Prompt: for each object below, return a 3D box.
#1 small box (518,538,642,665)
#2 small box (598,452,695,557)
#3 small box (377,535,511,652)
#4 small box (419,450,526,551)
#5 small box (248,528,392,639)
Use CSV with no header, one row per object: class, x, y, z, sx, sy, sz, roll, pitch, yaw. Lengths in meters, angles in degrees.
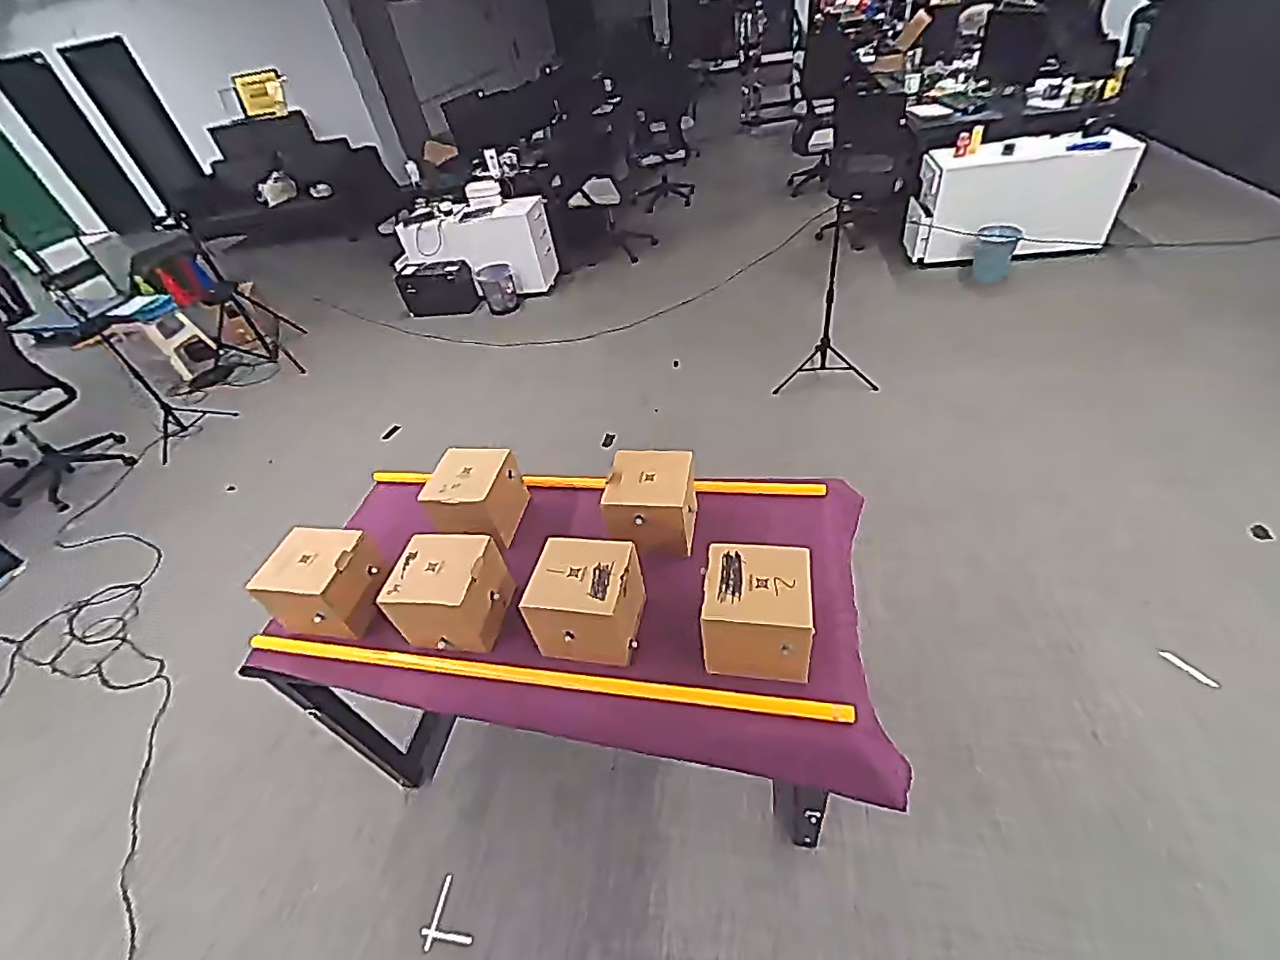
small box,-0.102,0.232,1.030,0.179,0.176,0.168,2,42,15
small box,0.025,0.055,1.196,0.179,0.176,0.168,0,44,14
small box,-0.380,0.231,1.092,0.179,0.176,0.168,1,43,11
small box,-0.387,0.047,1.291,0.168,0.176,0.179,1,45,13
small box,-0.668,0.224,1.158,0.179,0.176,0.168,2,43,11
